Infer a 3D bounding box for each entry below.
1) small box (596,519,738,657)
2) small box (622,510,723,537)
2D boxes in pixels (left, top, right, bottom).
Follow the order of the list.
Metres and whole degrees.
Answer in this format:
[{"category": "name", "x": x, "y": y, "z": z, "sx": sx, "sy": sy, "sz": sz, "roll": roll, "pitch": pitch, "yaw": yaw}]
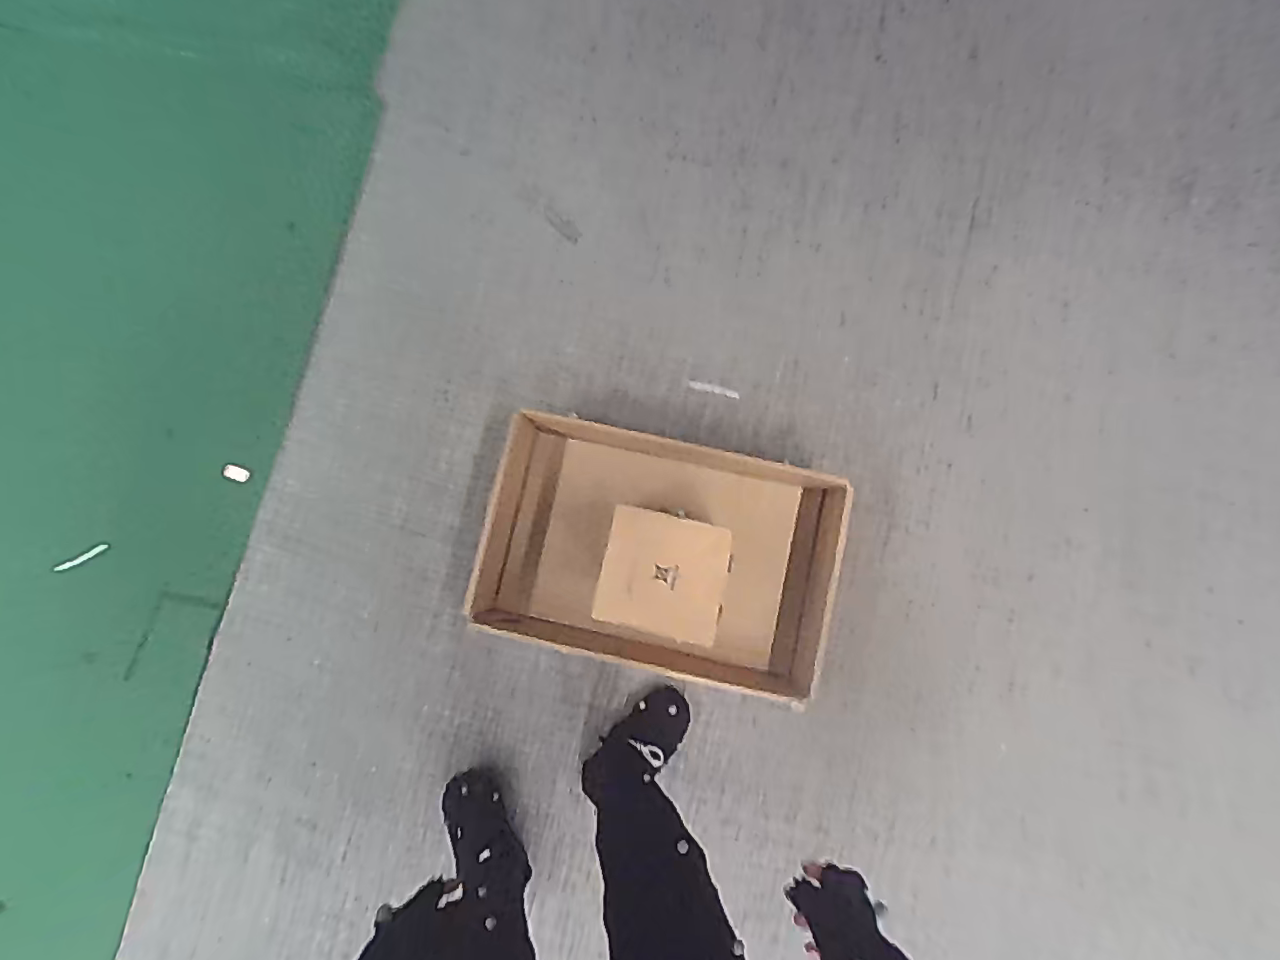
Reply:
[{"category": "small box", "x": 0.039, "y": 0.156, "z": 0.822, "sx": 0.179, "sy": 0.176, "sz": 0.168, "roll": 9, "pitch": 83, "yaw": 3}, {"category": "small box", "x": 0.045, "y": 0.160, "z": 1.004, "sx": 0.179, "sy": 0.176, "sz": 0.168, "roll": 11, "pitch": 82, "yaw": 3}]
